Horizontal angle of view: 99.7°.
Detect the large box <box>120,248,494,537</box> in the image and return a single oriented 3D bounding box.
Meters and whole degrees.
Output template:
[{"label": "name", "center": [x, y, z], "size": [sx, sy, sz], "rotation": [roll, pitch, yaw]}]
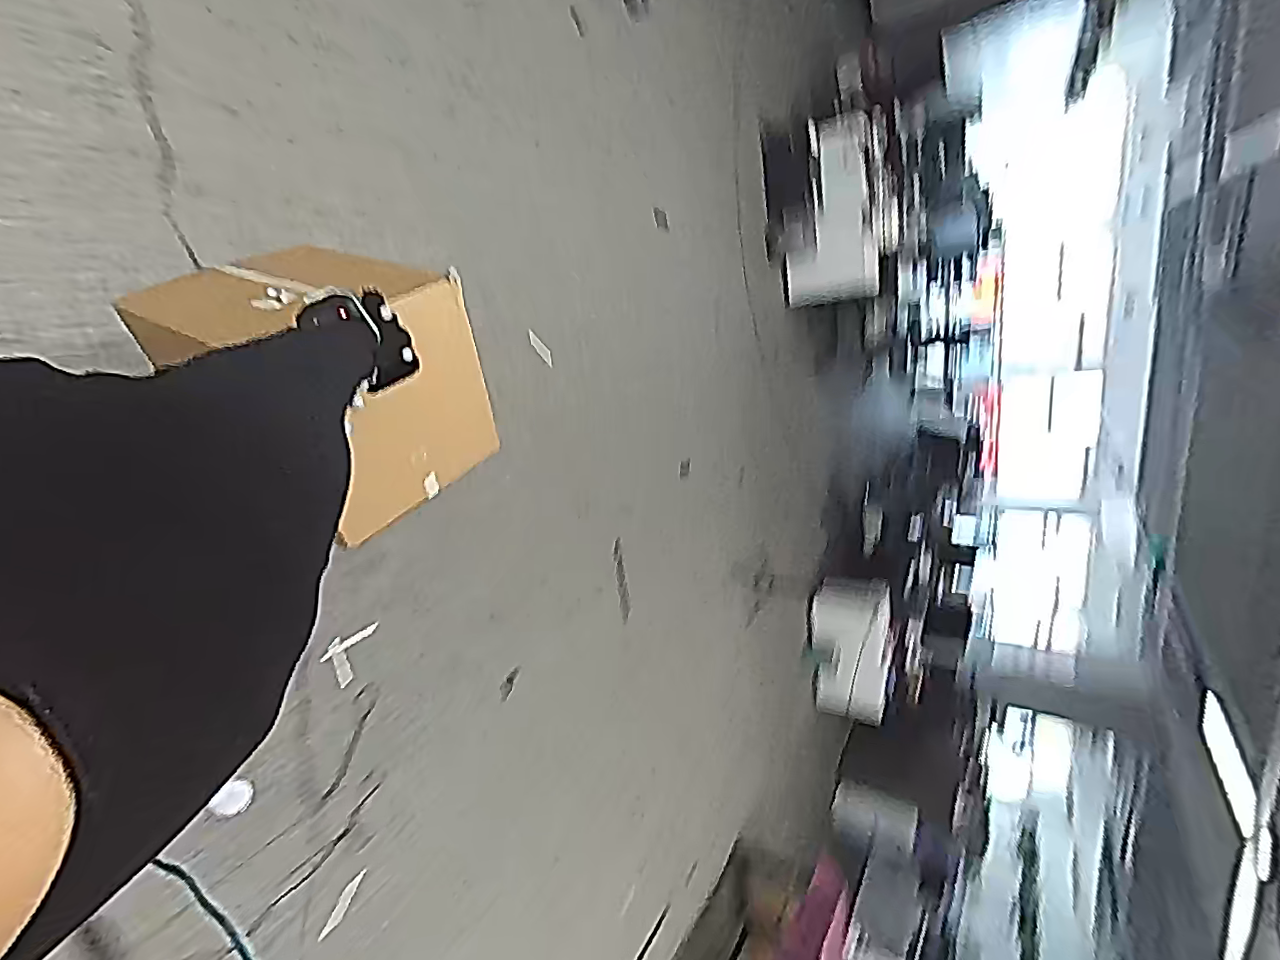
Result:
[{"label": "large box", "center": [-0.519, -0.166, 0.902], "size": [0.320, 0.408, 0.320], "rotation": [-45, 146, -39]}]
